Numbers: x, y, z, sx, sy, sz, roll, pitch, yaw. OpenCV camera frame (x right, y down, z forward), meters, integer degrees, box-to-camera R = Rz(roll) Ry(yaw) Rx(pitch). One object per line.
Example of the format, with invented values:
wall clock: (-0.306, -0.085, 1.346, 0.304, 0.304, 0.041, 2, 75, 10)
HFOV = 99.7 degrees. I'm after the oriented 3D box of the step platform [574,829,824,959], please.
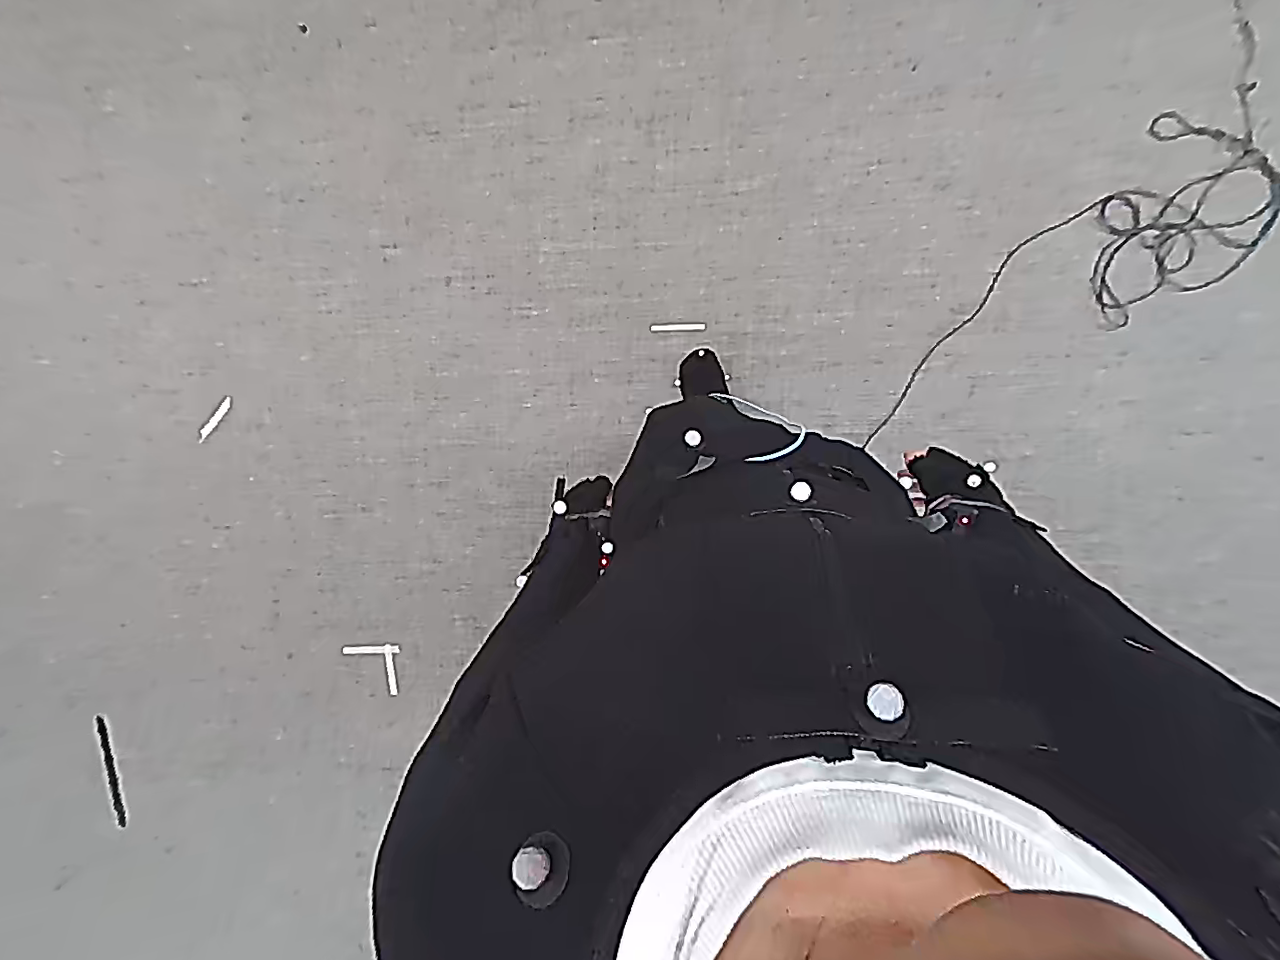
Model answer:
step platform: (0.158, 1.187, 1.517, 0.684, 0.204, 0.286, -2, 98, 6)
